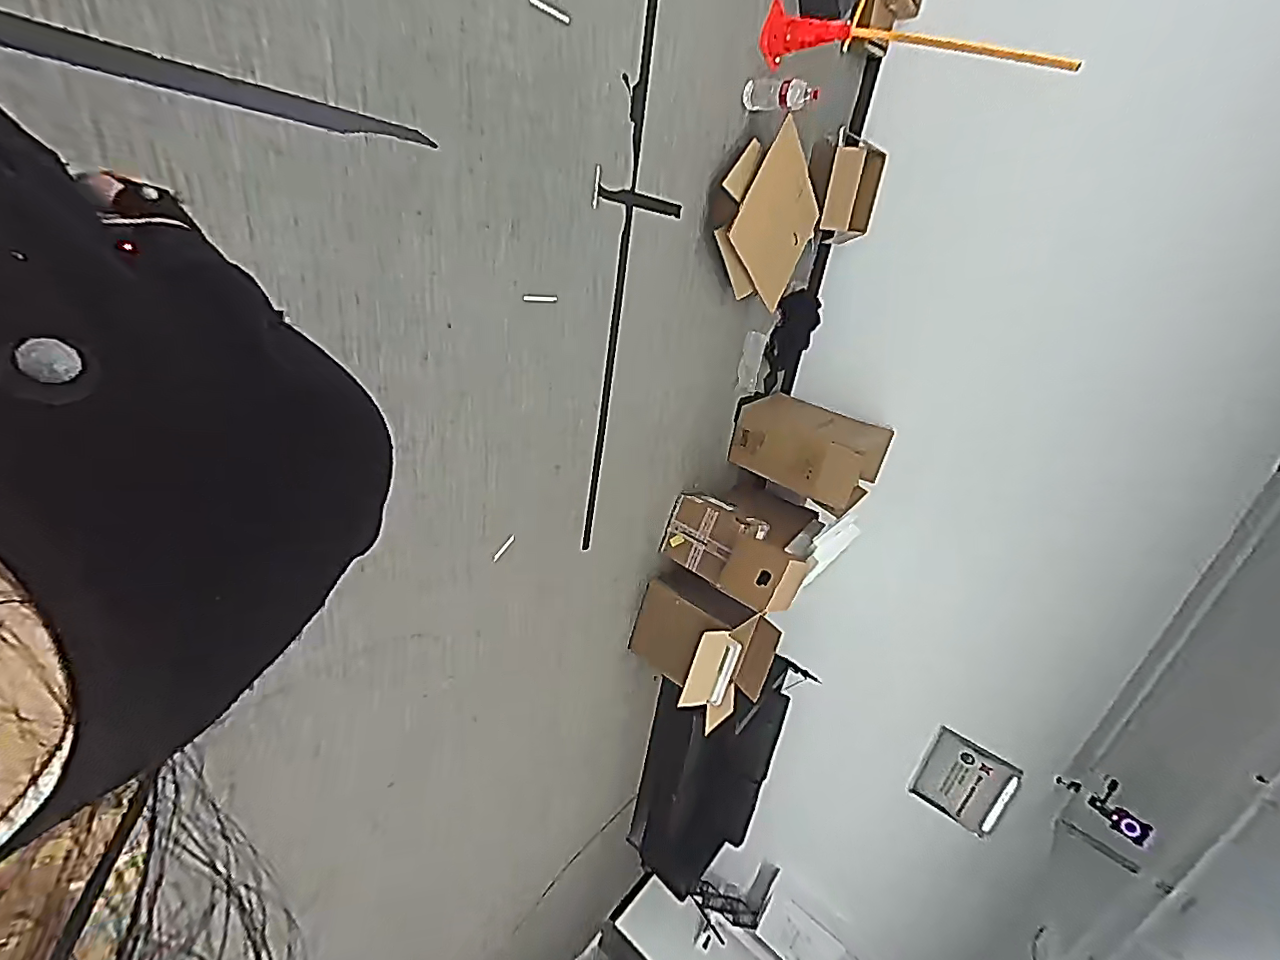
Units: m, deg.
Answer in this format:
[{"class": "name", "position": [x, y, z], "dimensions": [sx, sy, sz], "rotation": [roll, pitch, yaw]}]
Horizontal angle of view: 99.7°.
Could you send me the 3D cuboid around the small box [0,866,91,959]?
[{"class": "small box", "position": [-1.205, 0.899, 1.031], "dimensions": [0.179, 0.176, 0.168], "rotation": [-21, 126, -47]}]
